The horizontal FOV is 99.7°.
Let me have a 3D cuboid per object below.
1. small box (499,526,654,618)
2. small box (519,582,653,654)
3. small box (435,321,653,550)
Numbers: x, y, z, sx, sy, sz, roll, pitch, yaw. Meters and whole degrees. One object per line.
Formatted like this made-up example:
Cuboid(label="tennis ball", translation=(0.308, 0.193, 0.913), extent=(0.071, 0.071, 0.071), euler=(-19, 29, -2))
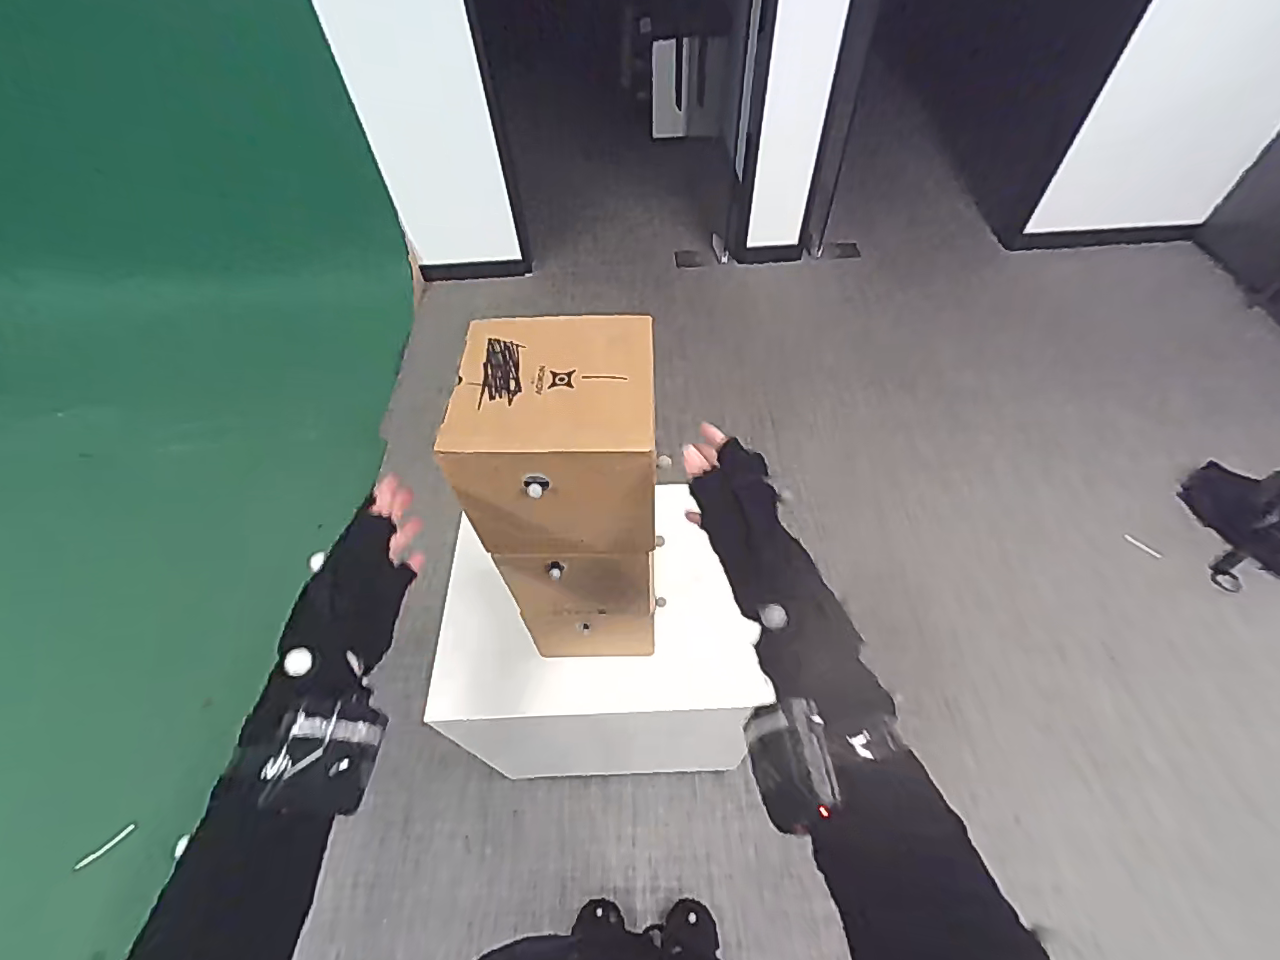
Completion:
Cuboid(label="small box", translation=(-0.069, 0.059, 0.679), extent=(0.168, 0.176, 0.179), euler=(-2, 55, -1))
Cuboid(label="small box", translation=(-0.069, 0.154, 0.809), extent=(0.179, 0.176, 0.168), euler=(-1, 54, 0))
Cuboid(label="small box", translation=(-0.076, -0.039, 0.544), extent=(0.179, 0.176, 0.168), euler=(0, 55, 2))
